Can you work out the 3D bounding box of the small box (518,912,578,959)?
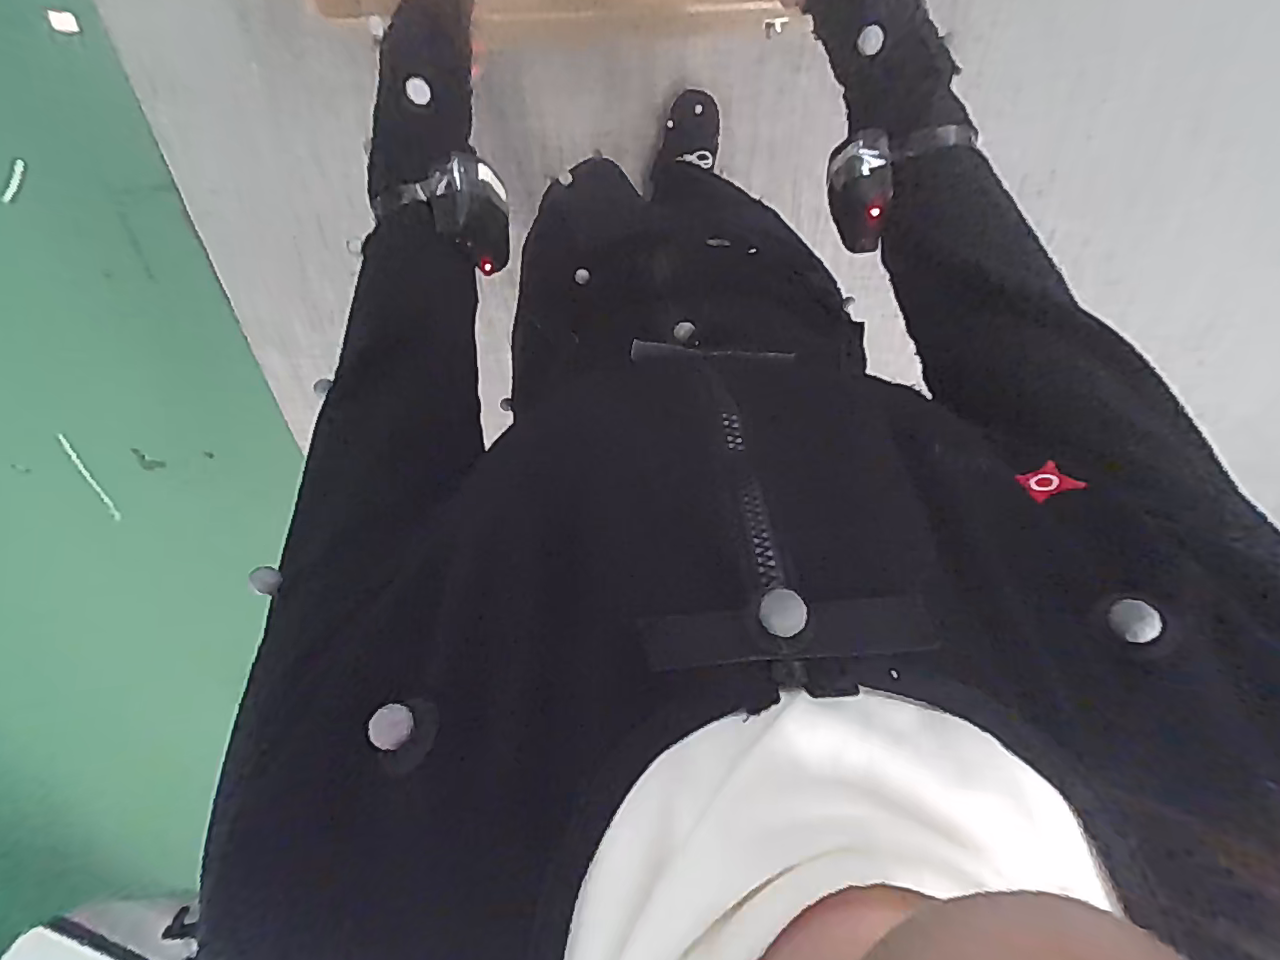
[{"bbox_3d":[-0.303,1.568,1.798,0.168,0.176,0.179,-4,125,1],"label":"small box"}]
